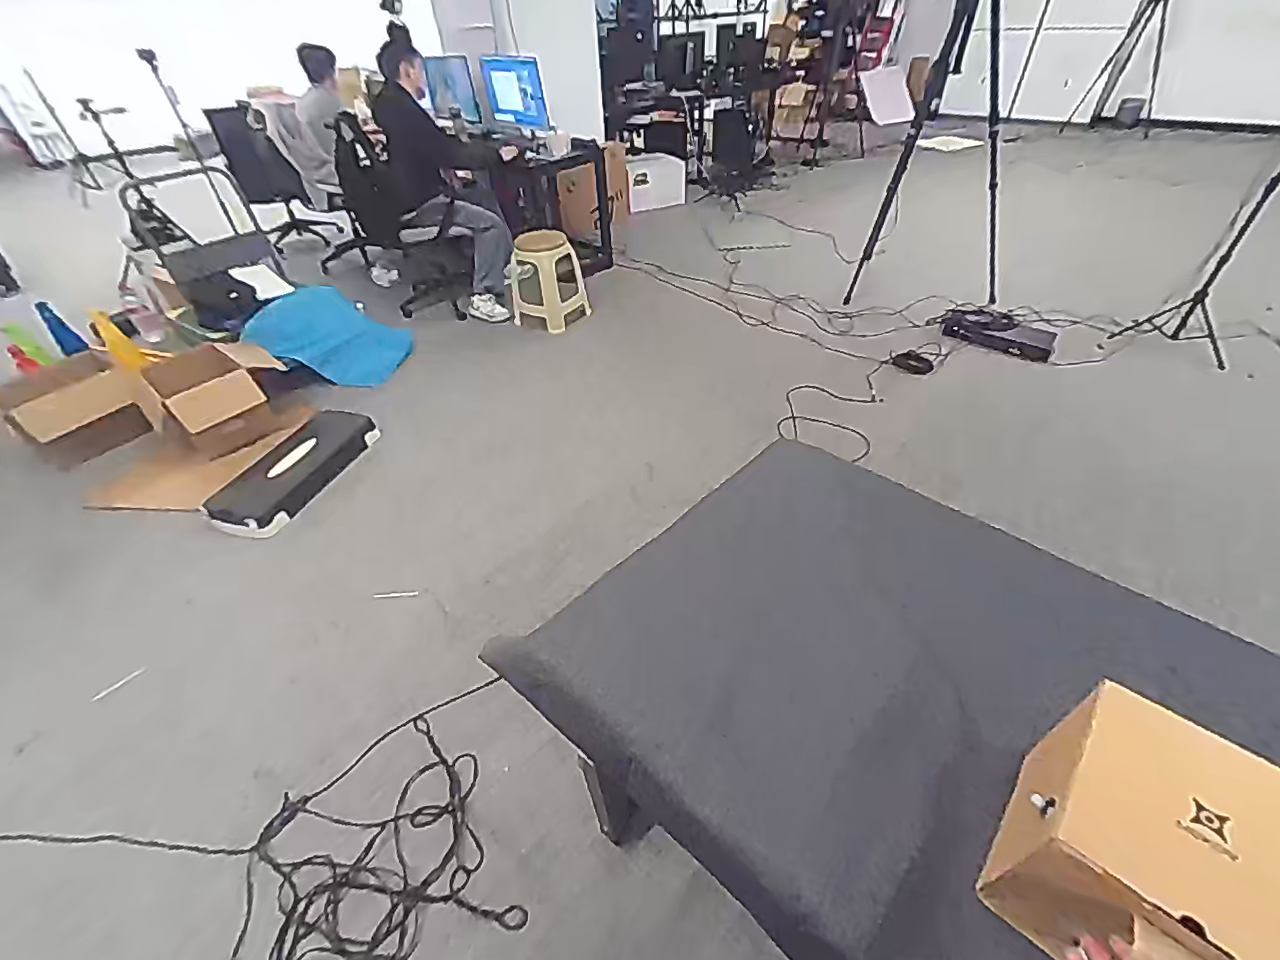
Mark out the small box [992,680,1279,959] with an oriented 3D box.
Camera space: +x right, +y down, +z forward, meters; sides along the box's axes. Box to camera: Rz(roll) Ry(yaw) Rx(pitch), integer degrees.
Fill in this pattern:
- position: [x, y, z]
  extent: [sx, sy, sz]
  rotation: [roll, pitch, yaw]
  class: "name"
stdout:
- position: [0.432, 0.316, 0.453]
  extent: [0.168, 0.176, 0.179]
  rotation: [30, 51, 32]
  class: "small box"
